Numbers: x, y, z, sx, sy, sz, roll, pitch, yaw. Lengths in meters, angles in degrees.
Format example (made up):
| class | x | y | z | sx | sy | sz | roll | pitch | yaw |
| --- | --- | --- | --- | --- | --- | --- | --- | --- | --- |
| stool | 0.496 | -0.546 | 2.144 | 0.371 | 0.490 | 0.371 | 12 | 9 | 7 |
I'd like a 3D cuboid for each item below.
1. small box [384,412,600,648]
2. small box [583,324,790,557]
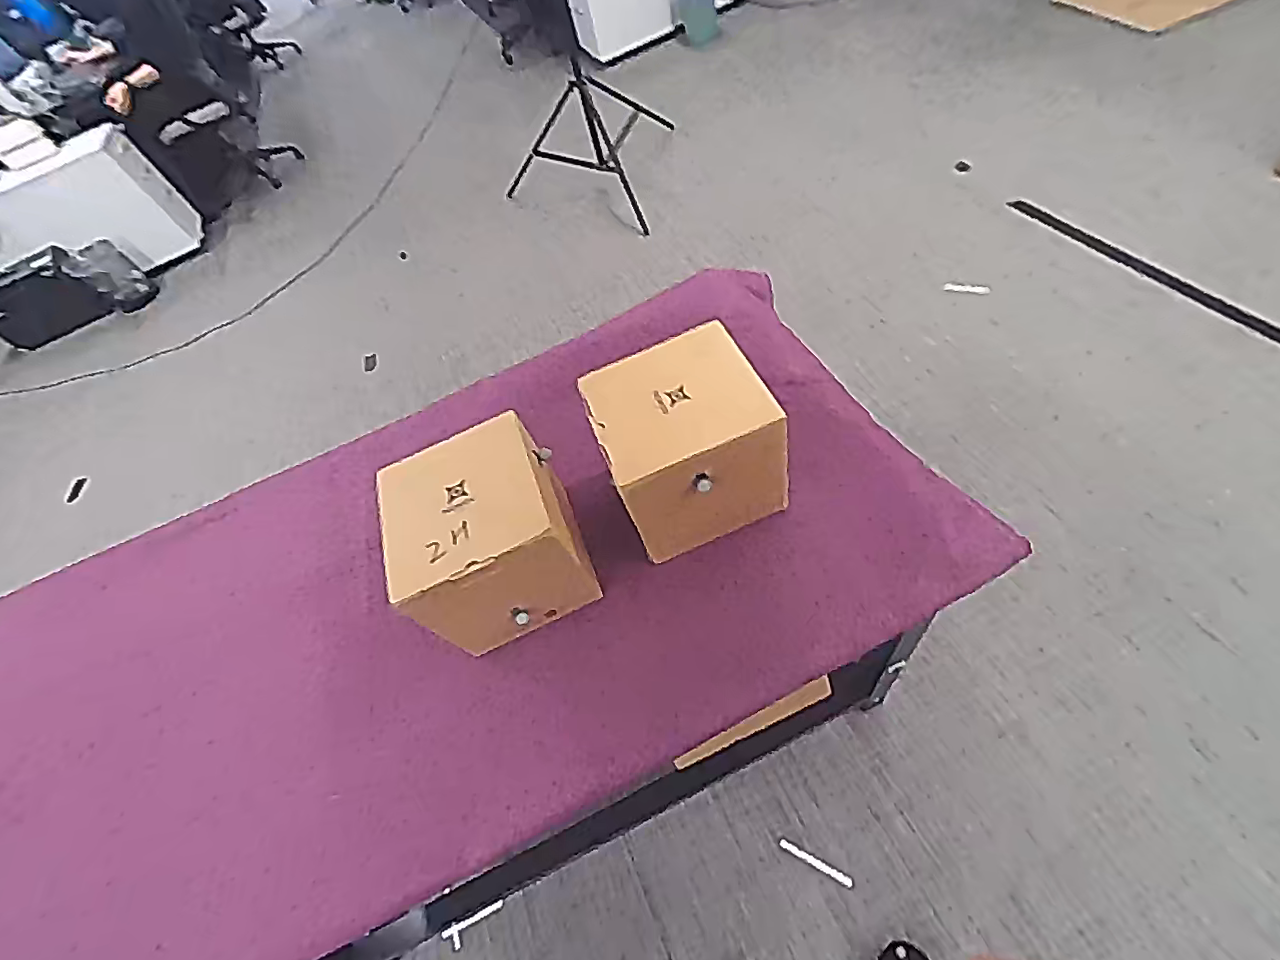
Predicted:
| class | x | y | z | sx | sy | sz | roll | pitch | yaw |
| --- | --- | --- | --- | --- | --- | --- | --- | --- | --- |
| small box | -0.163 | 0.061 | 0.614 | 0.168 | 0.176 | 0.179 | -25 | 54 | -1 |
| small box | 0.056 | -0.039 | 0.624 | 0.179 | 0.176 | 0.168 | -23 | 53 | 0 |
